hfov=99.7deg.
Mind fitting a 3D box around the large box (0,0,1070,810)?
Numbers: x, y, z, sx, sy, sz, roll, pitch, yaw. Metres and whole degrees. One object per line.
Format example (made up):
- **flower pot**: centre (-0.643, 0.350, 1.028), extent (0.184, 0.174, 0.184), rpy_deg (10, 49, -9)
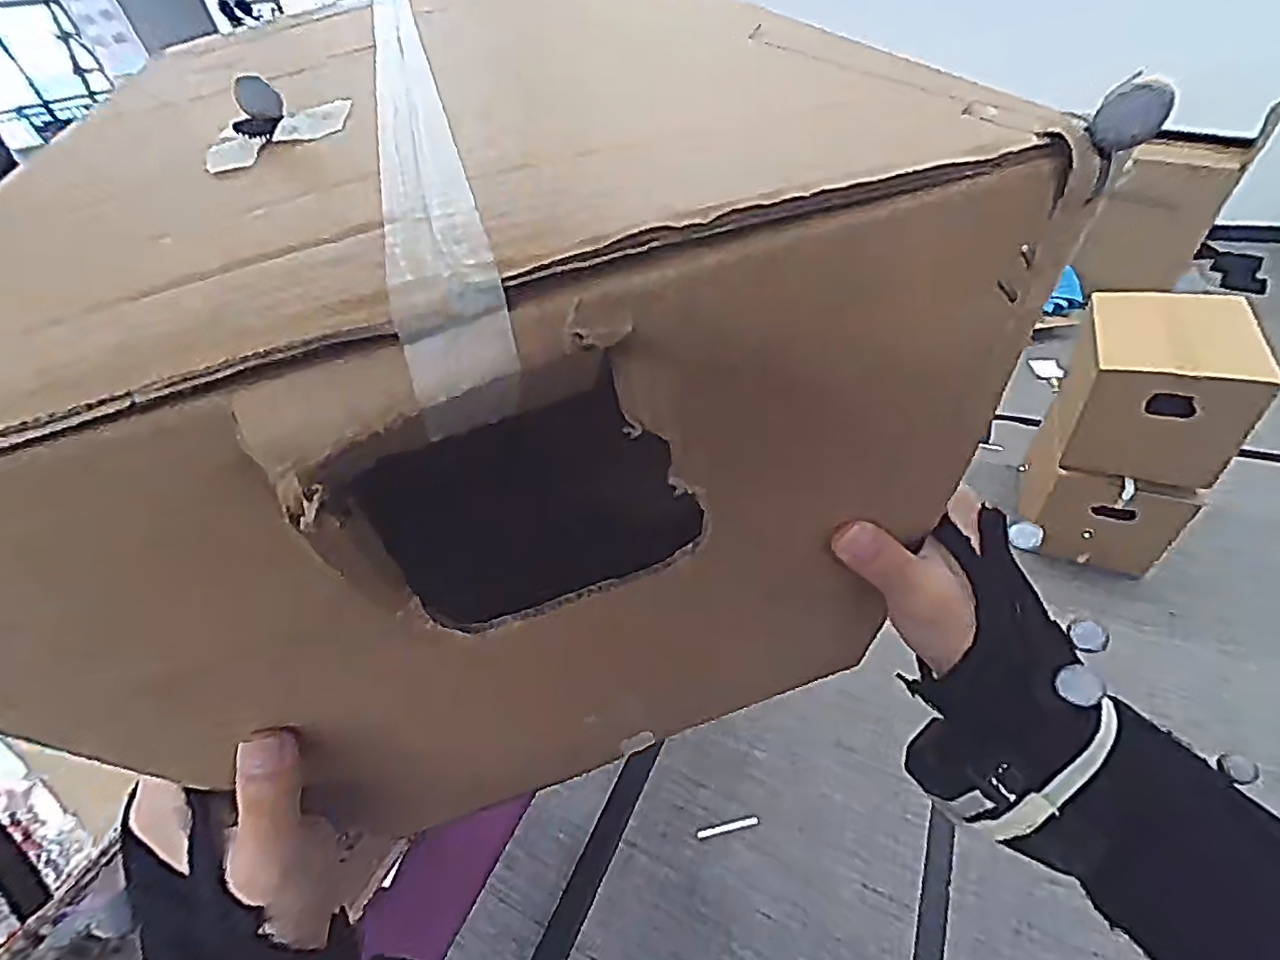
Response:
- **large box**: centre (-0.079, -0.076, 0.357), extent (0.320, 0.320, 0.408), rpy_deg (-19, 51, -6)
